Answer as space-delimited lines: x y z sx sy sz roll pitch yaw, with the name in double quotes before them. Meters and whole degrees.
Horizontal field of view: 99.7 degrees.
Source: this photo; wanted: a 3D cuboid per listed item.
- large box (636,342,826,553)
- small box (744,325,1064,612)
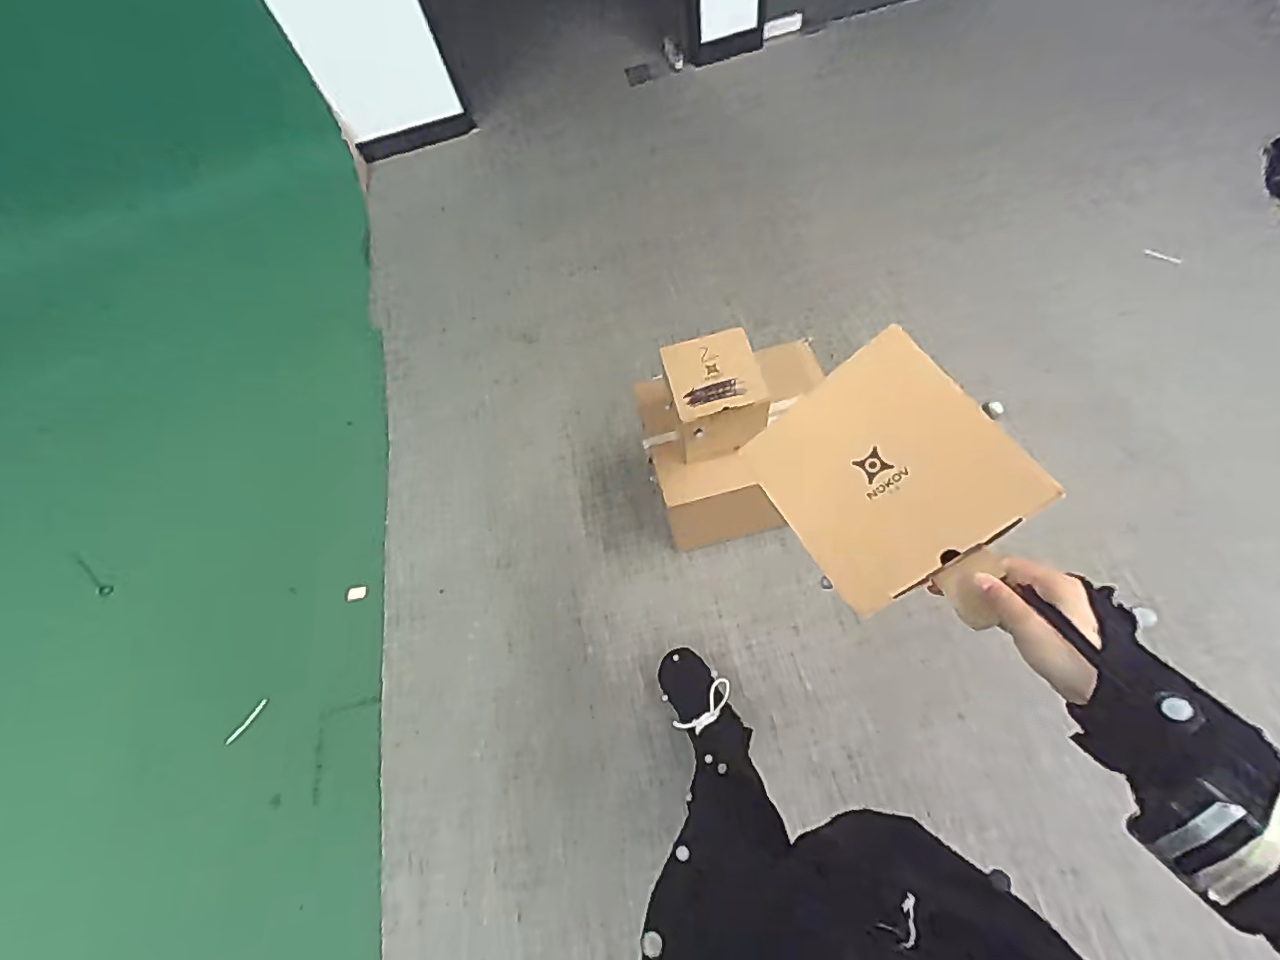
"large box" 0.232 -0.062 1.269 0.408 0.320 0.320 -15 64 0
"small box" 0.230 0.000 0.492 0.168 0.176 0.179 -40 65 21
